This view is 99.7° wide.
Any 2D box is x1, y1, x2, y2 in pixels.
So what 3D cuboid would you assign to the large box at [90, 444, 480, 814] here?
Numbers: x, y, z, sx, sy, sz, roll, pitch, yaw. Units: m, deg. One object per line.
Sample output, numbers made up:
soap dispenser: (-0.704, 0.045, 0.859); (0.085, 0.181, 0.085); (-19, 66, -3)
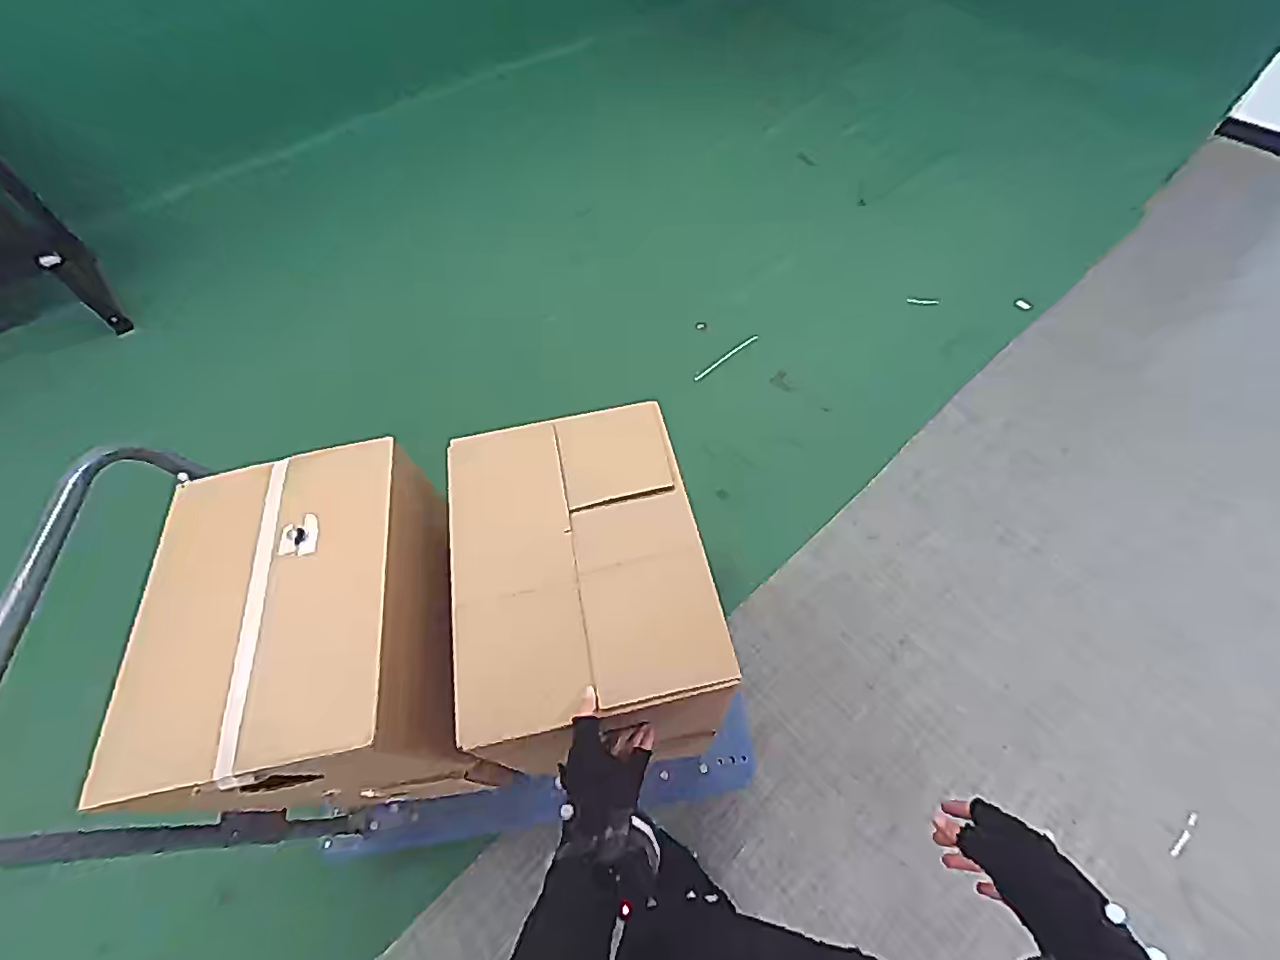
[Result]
large box: (-0.442, 0.222, 0.787); (0.320, 0.320, 0.408); (-12, 57, -1)
